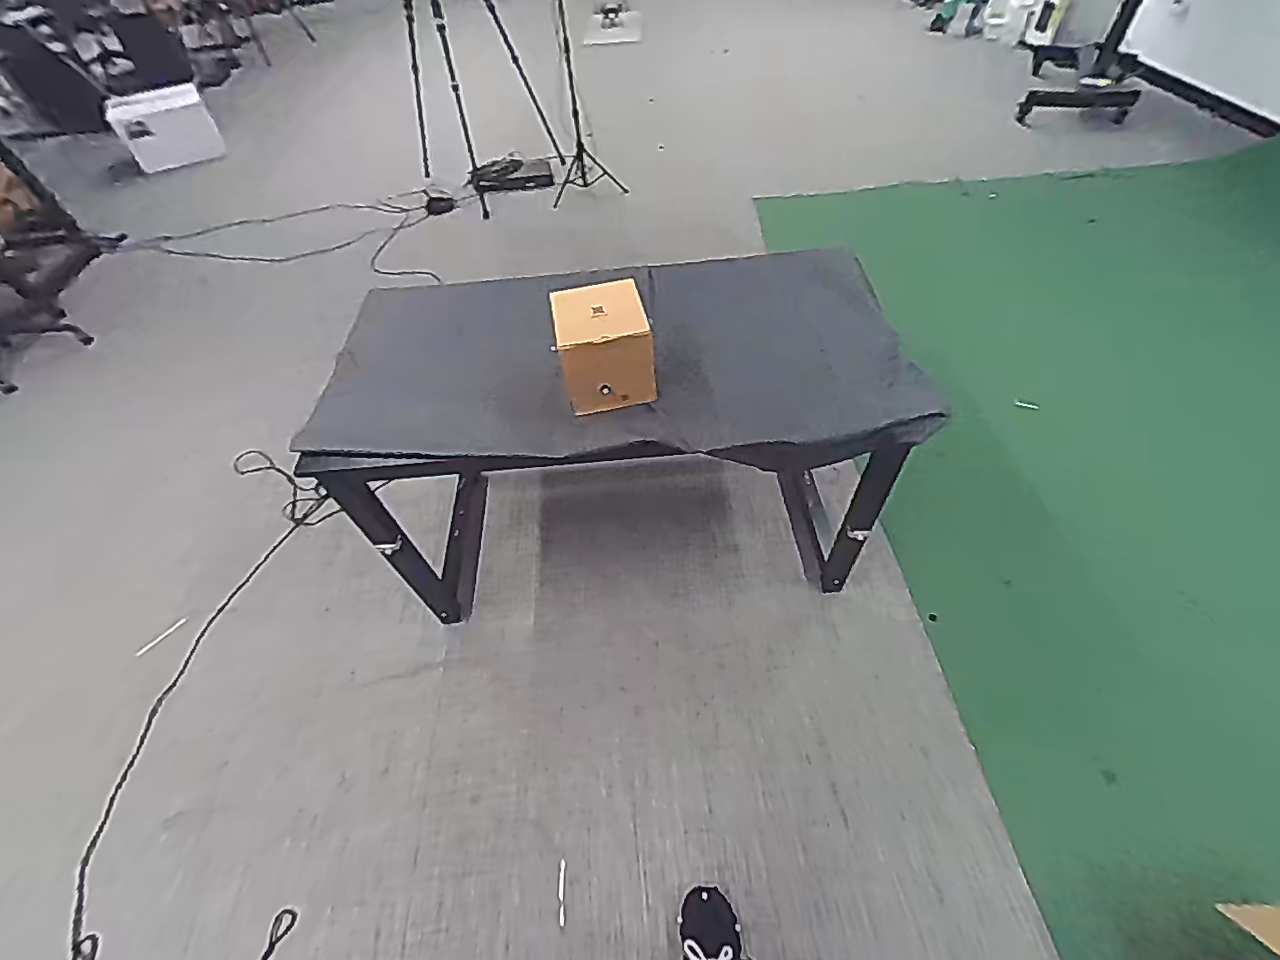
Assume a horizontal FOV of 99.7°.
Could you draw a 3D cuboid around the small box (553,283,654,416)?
[{"bbox_3d":[-0.070,-0.252,1.049,0.168,0.176,0.179,-11,52,-4],"label":"small box"}]
